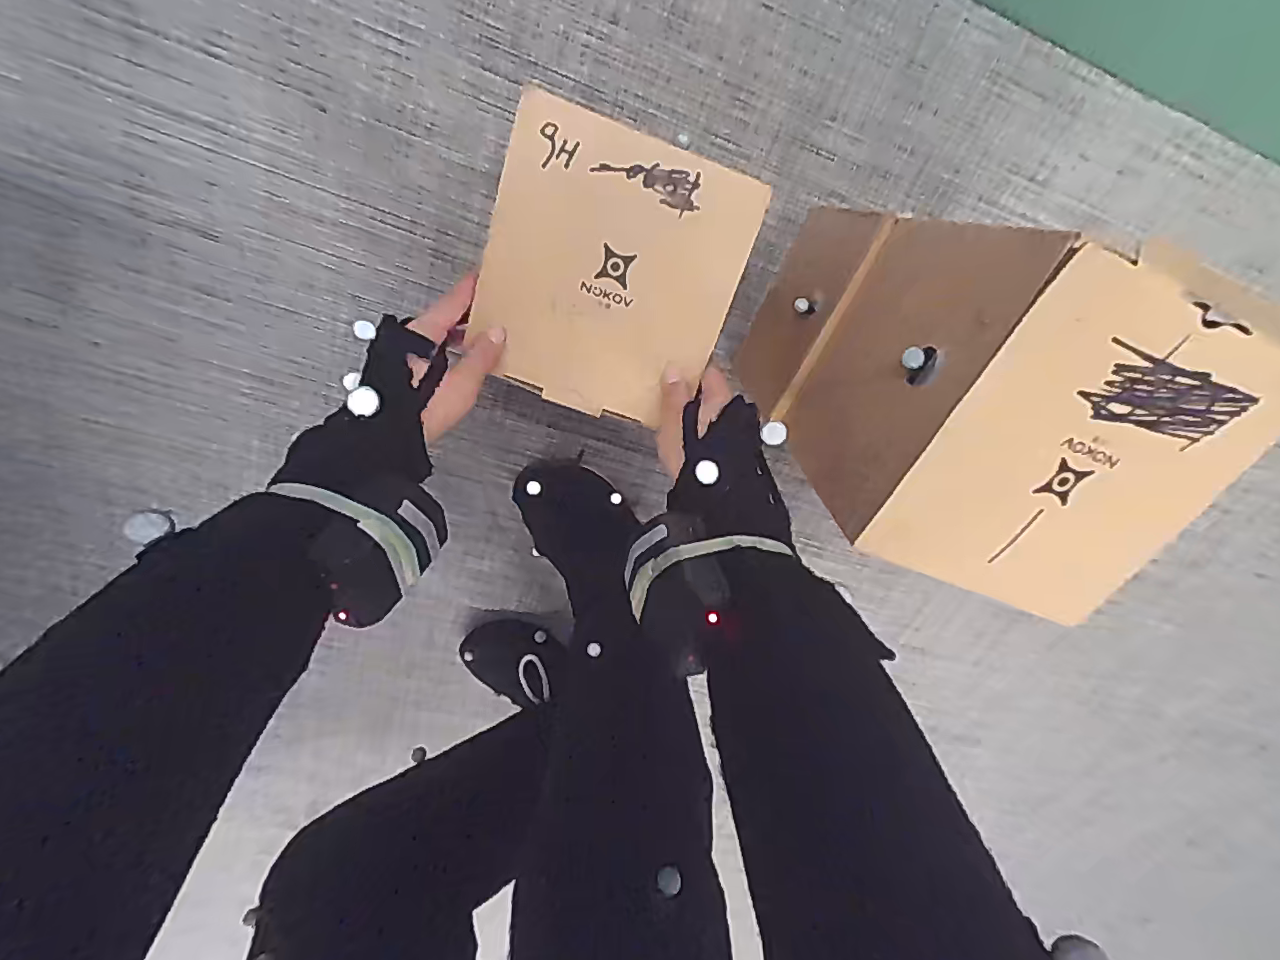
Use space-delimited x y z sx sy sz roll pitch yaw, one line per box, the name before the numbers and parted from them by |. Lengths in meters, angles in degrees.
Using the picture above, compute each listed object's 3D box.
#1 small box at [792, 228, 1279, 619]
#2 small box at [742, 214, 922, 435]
small box | 0.225 -0.047 0.356 0.168 0.176 0.179 21 115 -12
small box | 0.211 -0.127 0.501 0.168 0.176 0.179 20 116 -12
